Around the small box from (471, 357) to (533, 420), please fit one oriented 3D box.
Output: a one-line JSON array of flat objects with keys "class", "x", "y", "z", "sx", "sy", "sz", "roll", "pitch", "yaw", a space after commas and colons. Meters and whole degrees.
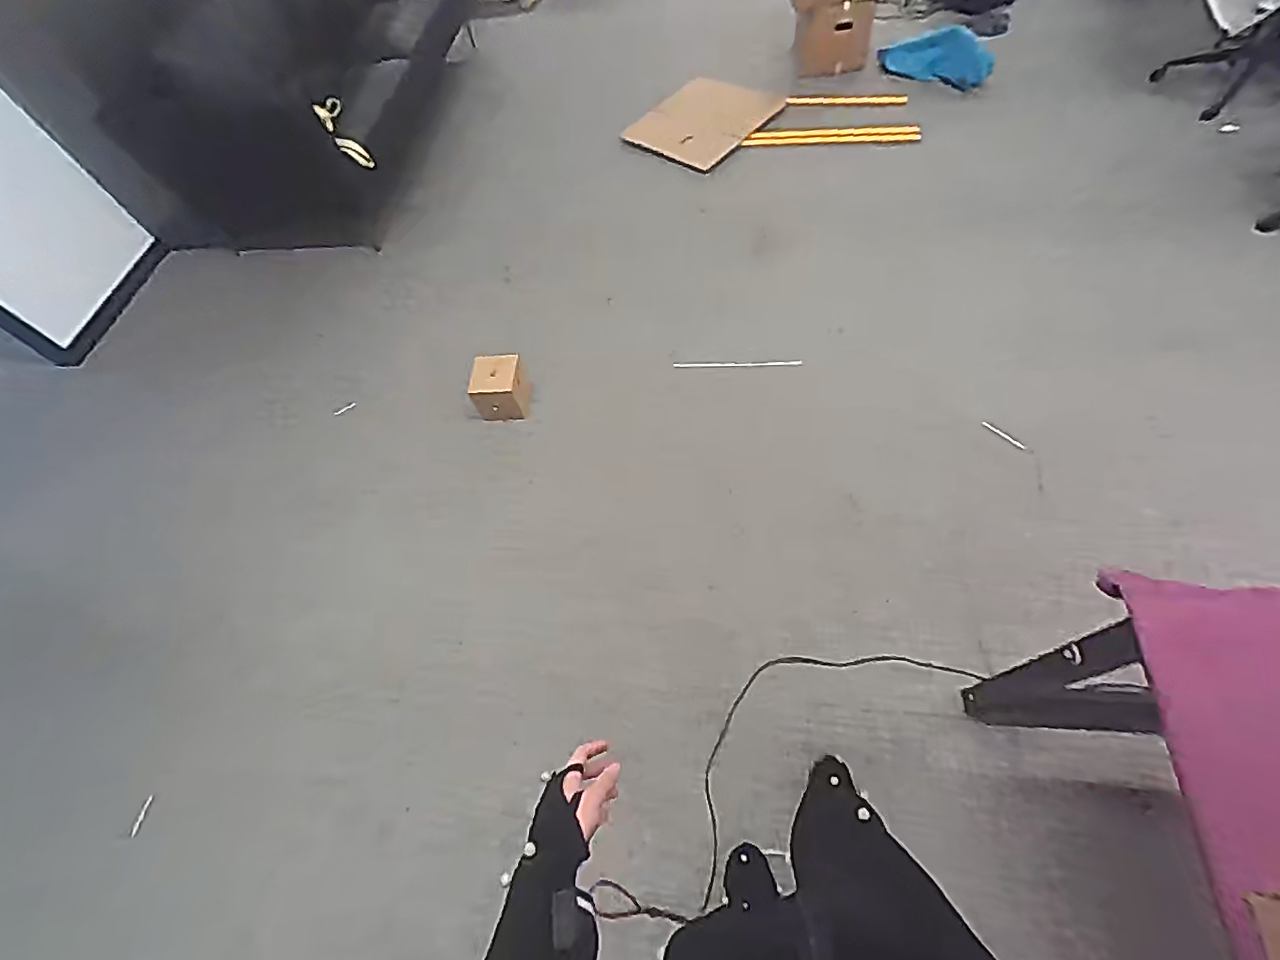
[{"class": "small box", "x": -0.509, "y": -0.336, "z": 2.029, "sx": 0.168, "sy": 0.176, "sz": 0.179, "roll": -1, "pitch": 59, "yaw": 7}]
